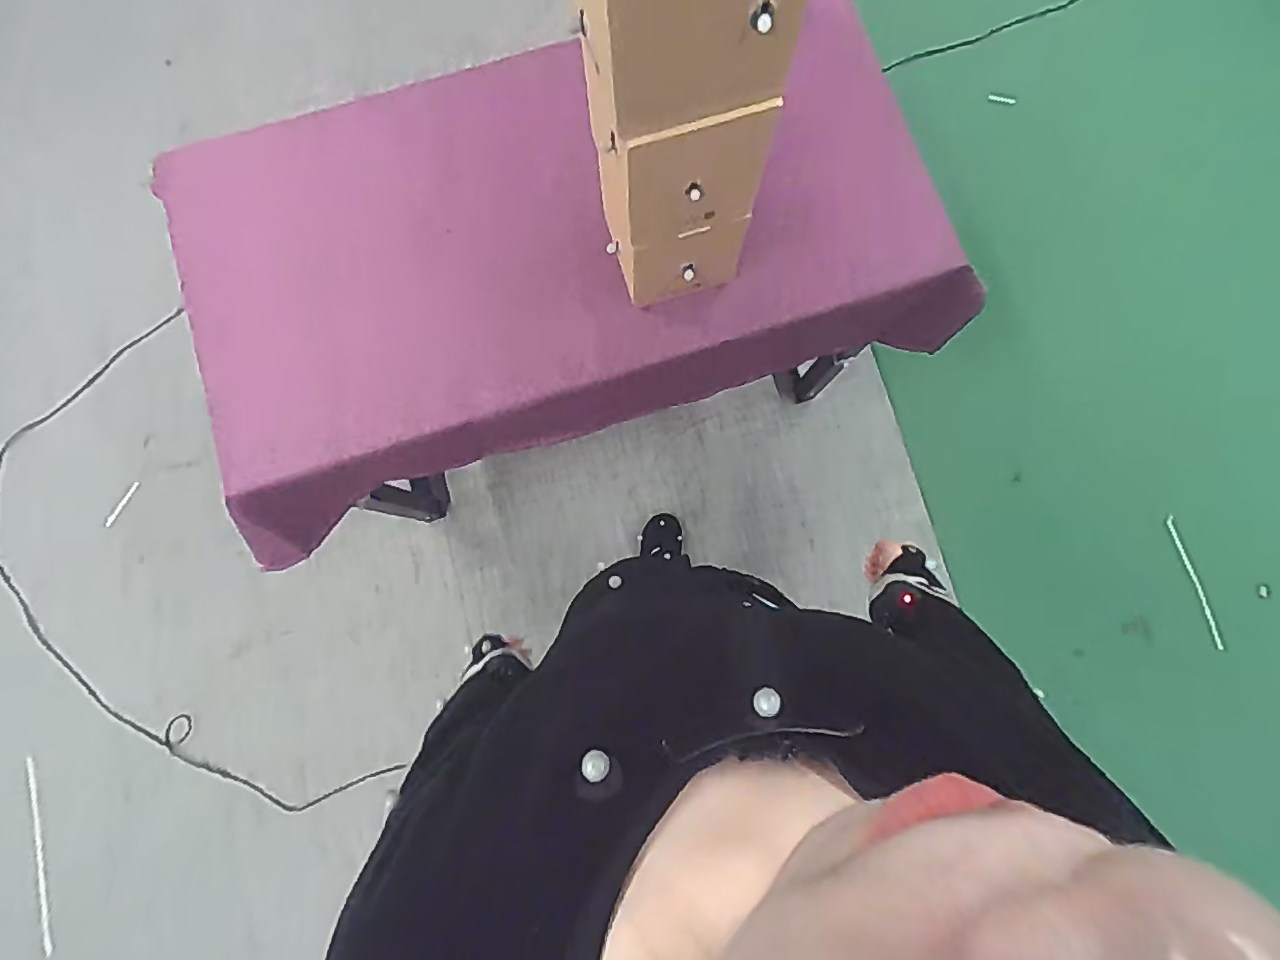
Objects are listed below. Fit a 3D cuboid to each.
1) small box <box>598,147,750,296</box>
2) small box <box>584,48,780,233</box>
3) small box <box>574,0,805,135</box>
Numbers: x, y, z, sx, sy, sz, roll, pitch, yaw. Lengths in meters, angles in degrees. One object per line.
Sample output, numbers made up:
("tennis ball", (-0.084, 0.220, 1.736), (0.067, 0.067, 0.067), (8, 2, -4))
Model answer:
("small box", (0.044, -0.390, 0.788), (0.168, 0.176, 0.179), (-17, 82, -3))
("small box", (0.041, -0.415, 0.625), (0.168, 0.176, 0.179), (-17, 81, -3))
("small box", (0.035, -0.444, 0.464), (0.179, 0.176, 0.168), (-17, 80, -2))
